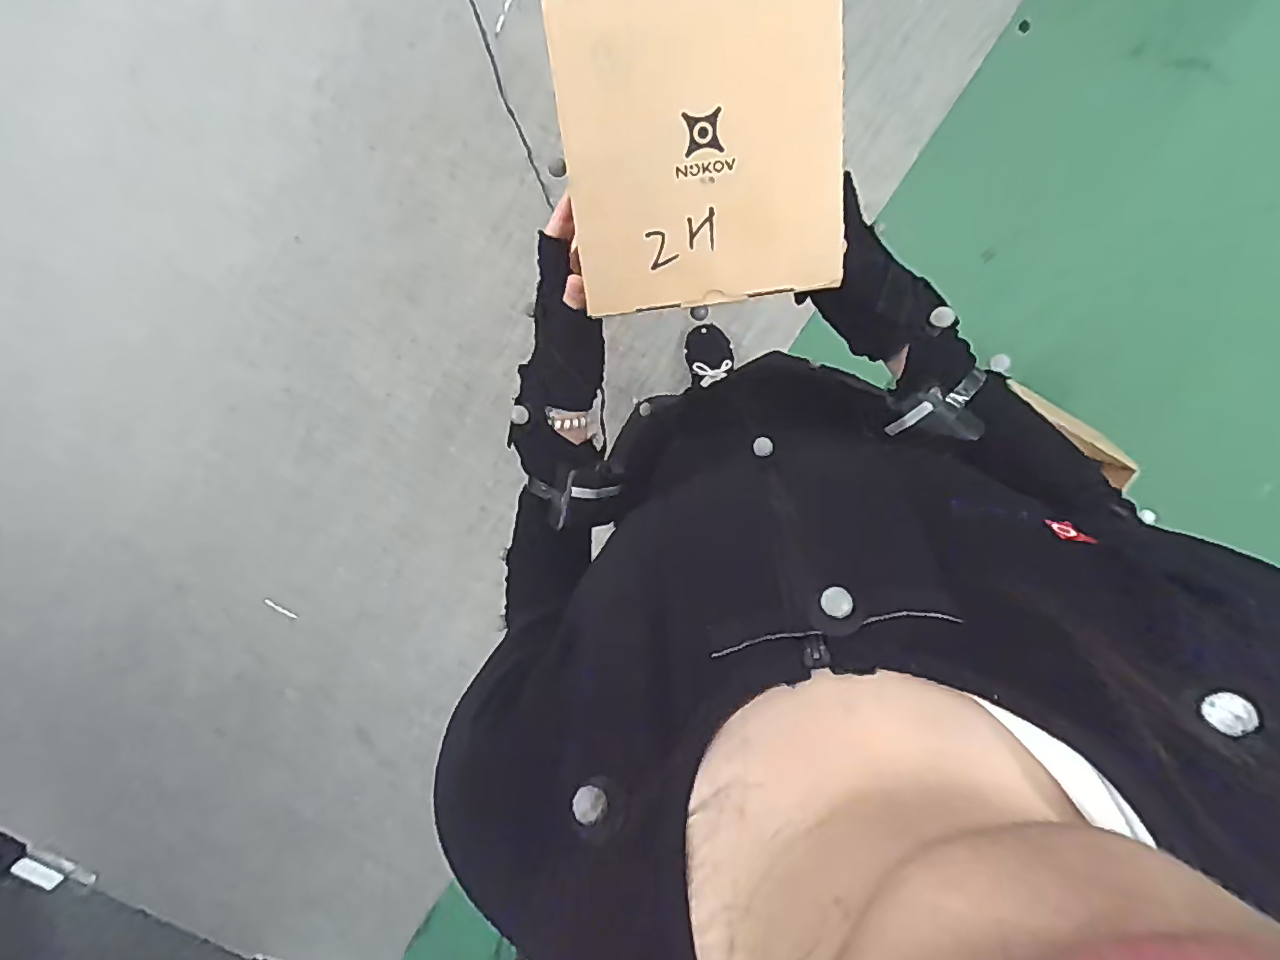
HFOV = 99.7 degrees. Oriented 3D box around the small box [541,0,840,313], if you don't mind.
[{"bbox_3d":[0.035,-0.222,0.393,0.168,0.176,0.179,-6,109,4],"label":"small box"}]
